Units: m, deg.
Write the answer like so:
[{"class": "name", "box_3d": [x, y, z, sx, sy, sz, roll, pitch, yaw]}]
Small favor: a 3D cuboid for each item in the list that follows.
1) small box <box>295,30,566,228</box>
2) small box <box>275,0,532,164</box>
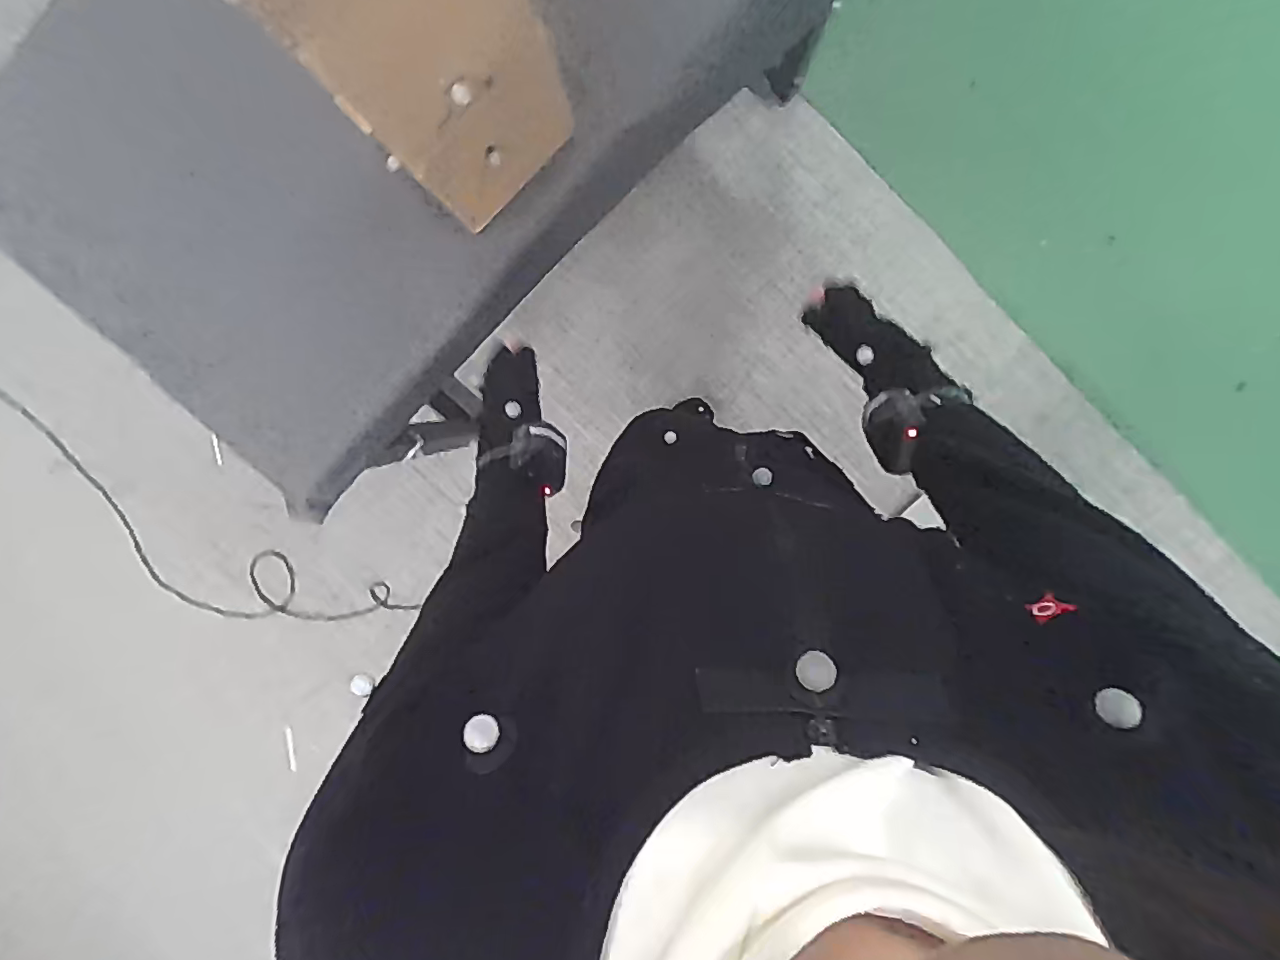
[{"class": "small box", "box_3d": [-0.202, -0.406, 0.572, 0.179, 0.176, 0.168, -43, 93, 7]}, {"class": "small box", "box_3d": [-0.213, -0.390, 0.409, 0.168, 0.176, 0.179, -43, 91, 7]}]
